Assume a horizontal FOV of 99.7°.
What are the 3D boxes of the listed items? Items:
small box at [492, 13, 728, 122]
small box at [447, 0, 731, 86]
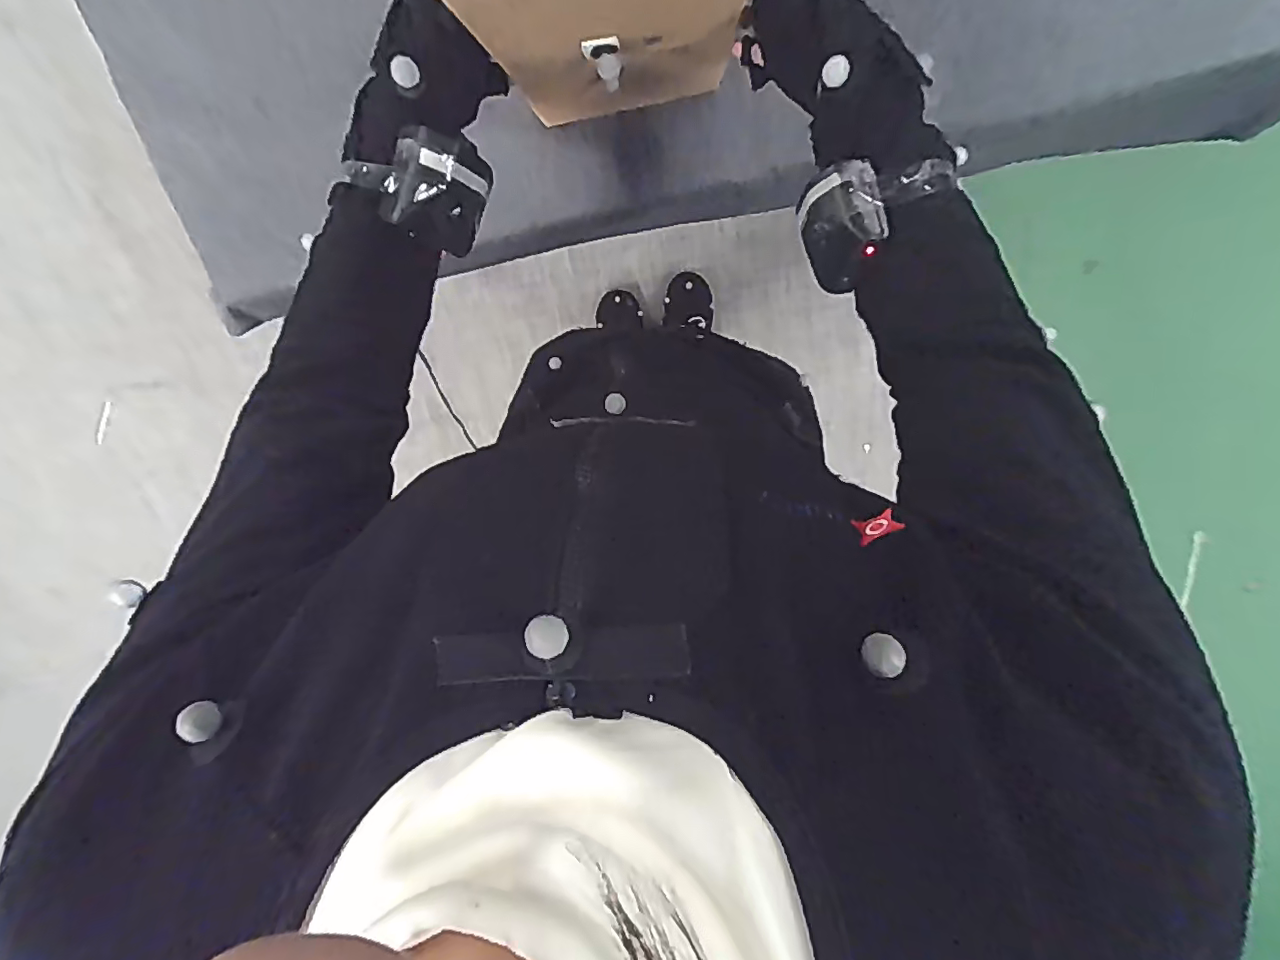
[{"bbox_3d":[-0.031,-0.414,0.437,0.179,0.176,0.168,-8,112,5],"label":"small box"},{"bbox_3d":[-0.038,-0.350,0.289,0.168,0.176,0.179,-8,113,6],"label":"small box"}]
